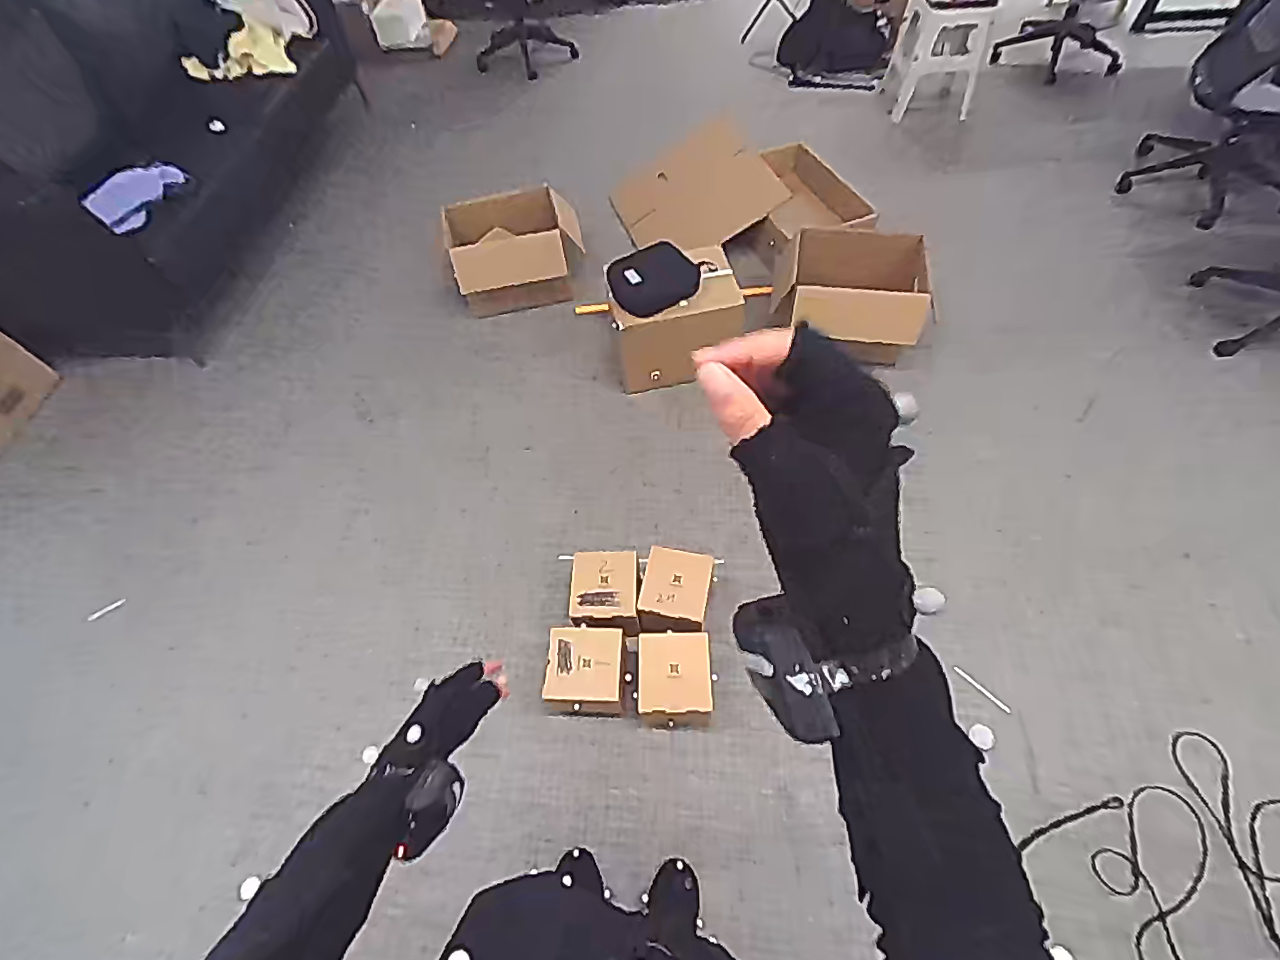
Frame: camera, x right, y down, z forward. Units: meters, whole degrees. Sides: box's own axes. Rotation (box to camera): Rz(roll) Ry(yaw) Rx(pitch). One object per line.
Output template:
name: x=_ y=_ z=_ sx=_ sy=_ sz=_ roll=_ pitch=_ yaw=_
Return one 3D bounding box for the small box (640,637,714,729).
small box: x=0.086 y=0.488 z=1.294 sx=0.168 sy=0.176 sz=0.179 roll=-2 pitch=58 yaw=4
